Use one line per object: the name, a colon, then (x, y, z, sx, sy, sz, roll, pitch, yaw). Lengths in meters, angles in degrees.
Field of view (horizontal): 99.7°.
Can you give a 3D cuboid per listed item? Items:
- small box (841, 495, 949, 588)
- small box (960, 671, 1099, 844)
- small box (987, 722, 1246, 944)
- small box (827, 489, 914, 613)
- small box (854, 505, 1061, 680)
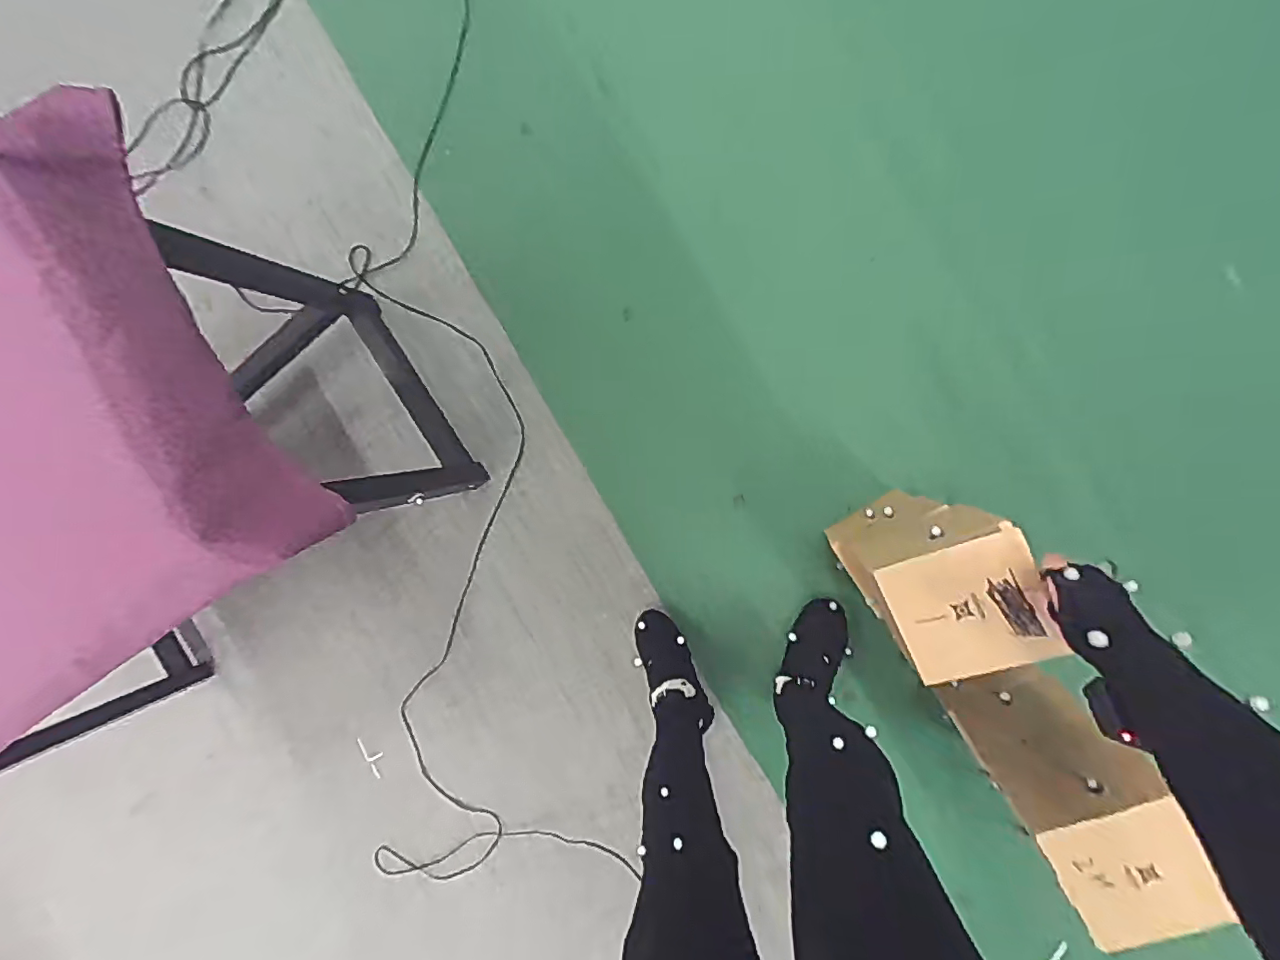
small box: (0.466, 0.142, 0.916, 0.168, 0.176, 0.179, -33, 86, 13)
small box: (0.664, 0.451, 0.896, 0.179, 0.176, 0.168, -30, 89, 16)
small box: (0.623, 0.465, 0.736, 0.179, 0.176, 0.168, -29, 88, 15)
small box: (0.490, 0.134, 1.078, 0.179, 0.176, 0.168, -33, 87, 13)
small box: (0.425, 0.145, 0.758, 0.179, 0.176, 0.168, -24, 89, 14)
